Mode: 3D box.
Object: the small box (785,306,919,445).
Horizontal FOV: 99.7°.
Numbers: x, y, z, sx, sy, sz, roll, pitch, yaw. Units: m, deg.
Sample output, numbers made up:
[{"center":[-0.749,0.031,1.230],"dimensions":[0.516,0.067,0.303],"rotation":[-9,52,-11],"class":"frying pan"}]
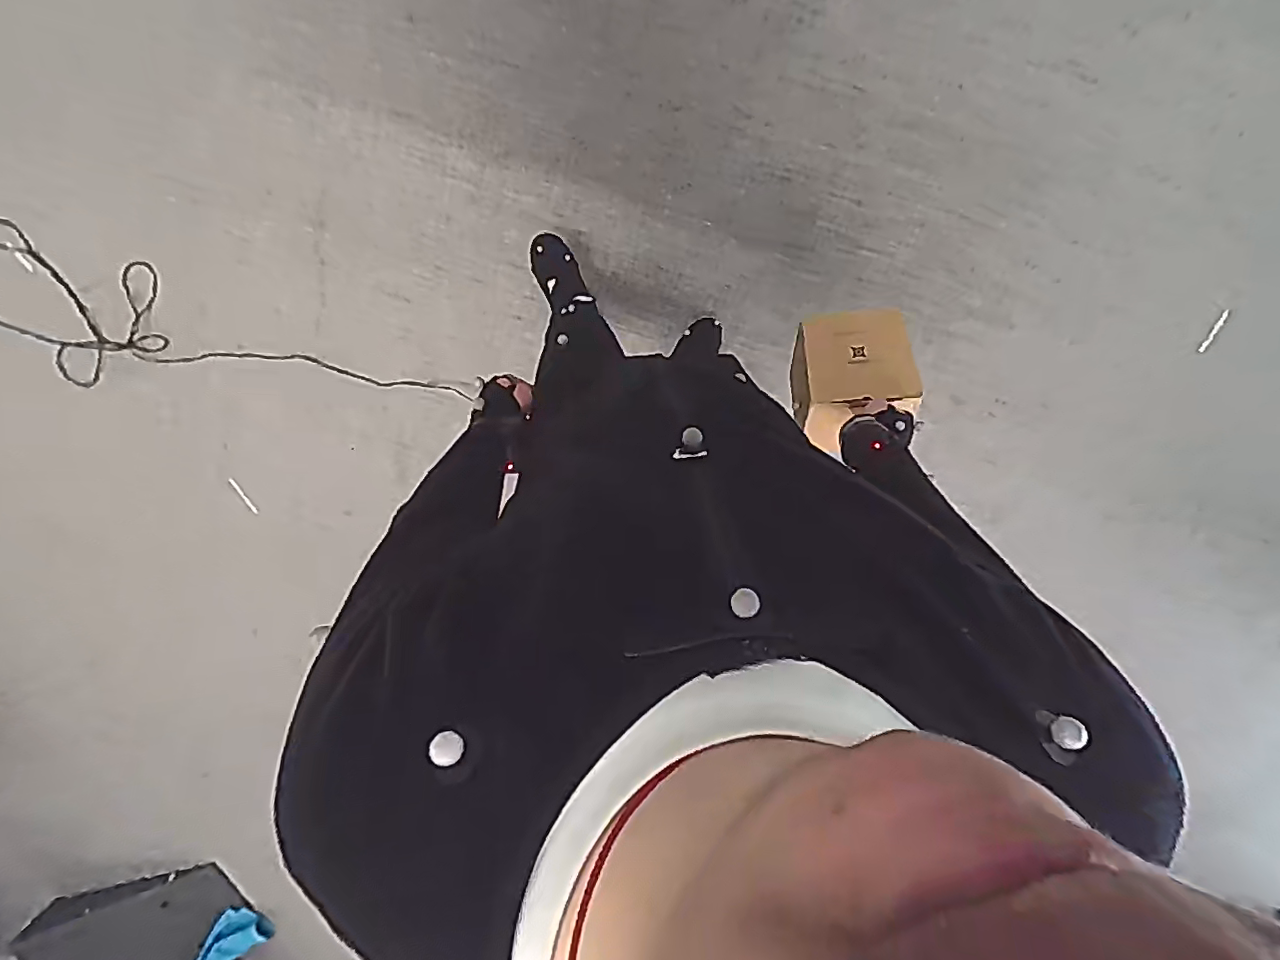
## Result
[{"center":[0.345,-0.167,0.916],"dimensions":[0.168,0.176,0.179],"rotation":[-2,65,5],"class":"small box"}]
